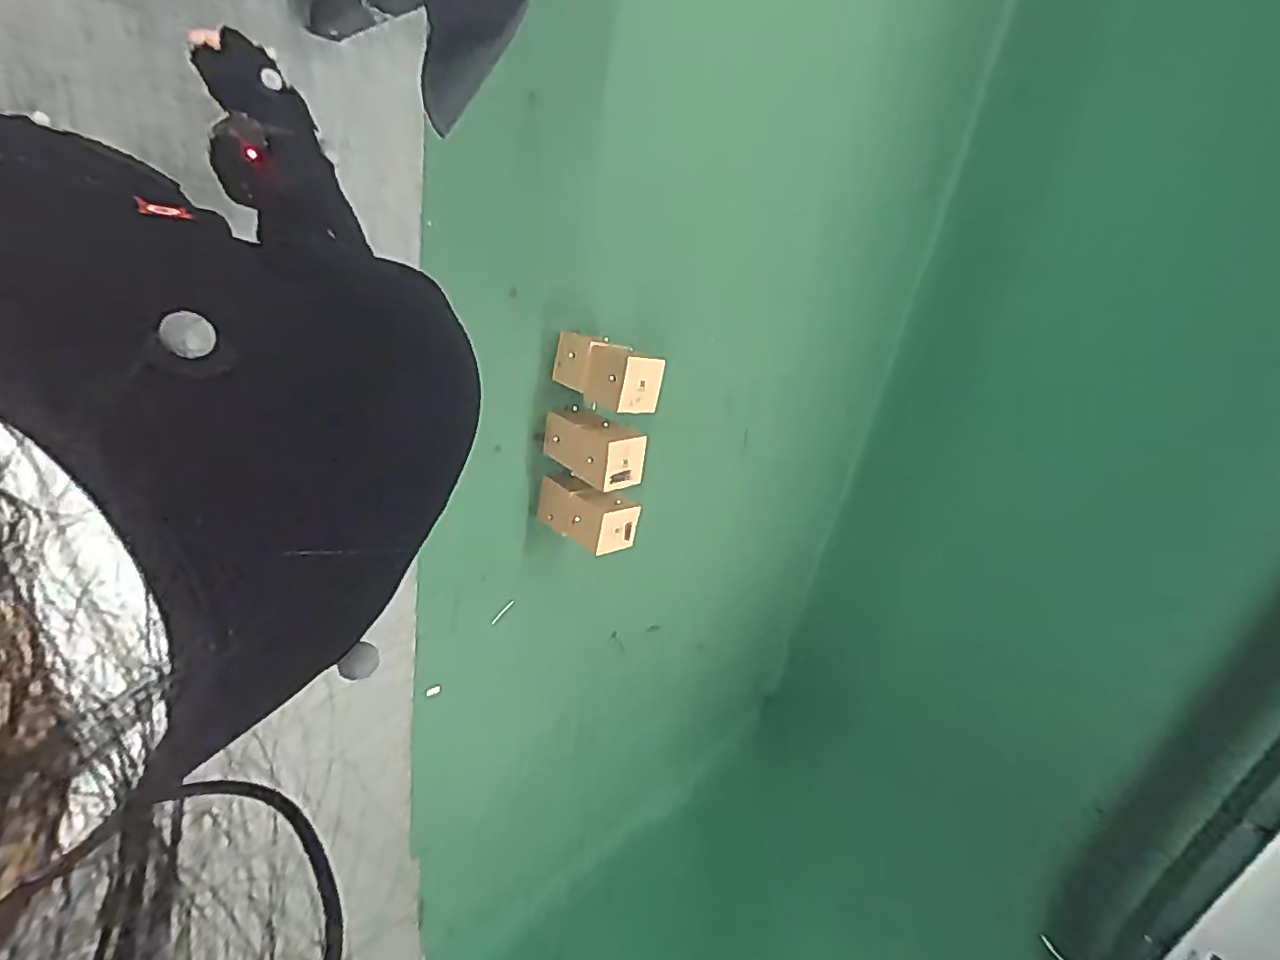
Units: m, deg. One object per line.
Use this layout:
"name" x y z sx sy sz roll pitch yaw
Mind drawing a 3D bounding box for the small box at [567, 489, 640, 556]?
"small box" -0.130 0.143 1.910 0.179 0.176 0.168 -10 120 -44

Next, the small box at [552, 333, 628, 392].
"small box" -0.171 -0.389 1.806 0.179 0.176 0.168 -5 116 -46

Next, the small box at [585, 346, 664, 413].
"small box" -0.054 -0.320 1.712 0.168 0.176 0.179 -6 117 -45

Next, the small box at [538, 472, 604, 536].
"small box" -0.258 0.085 1.996 0.168 0.176 0.179 -7 117 -45
